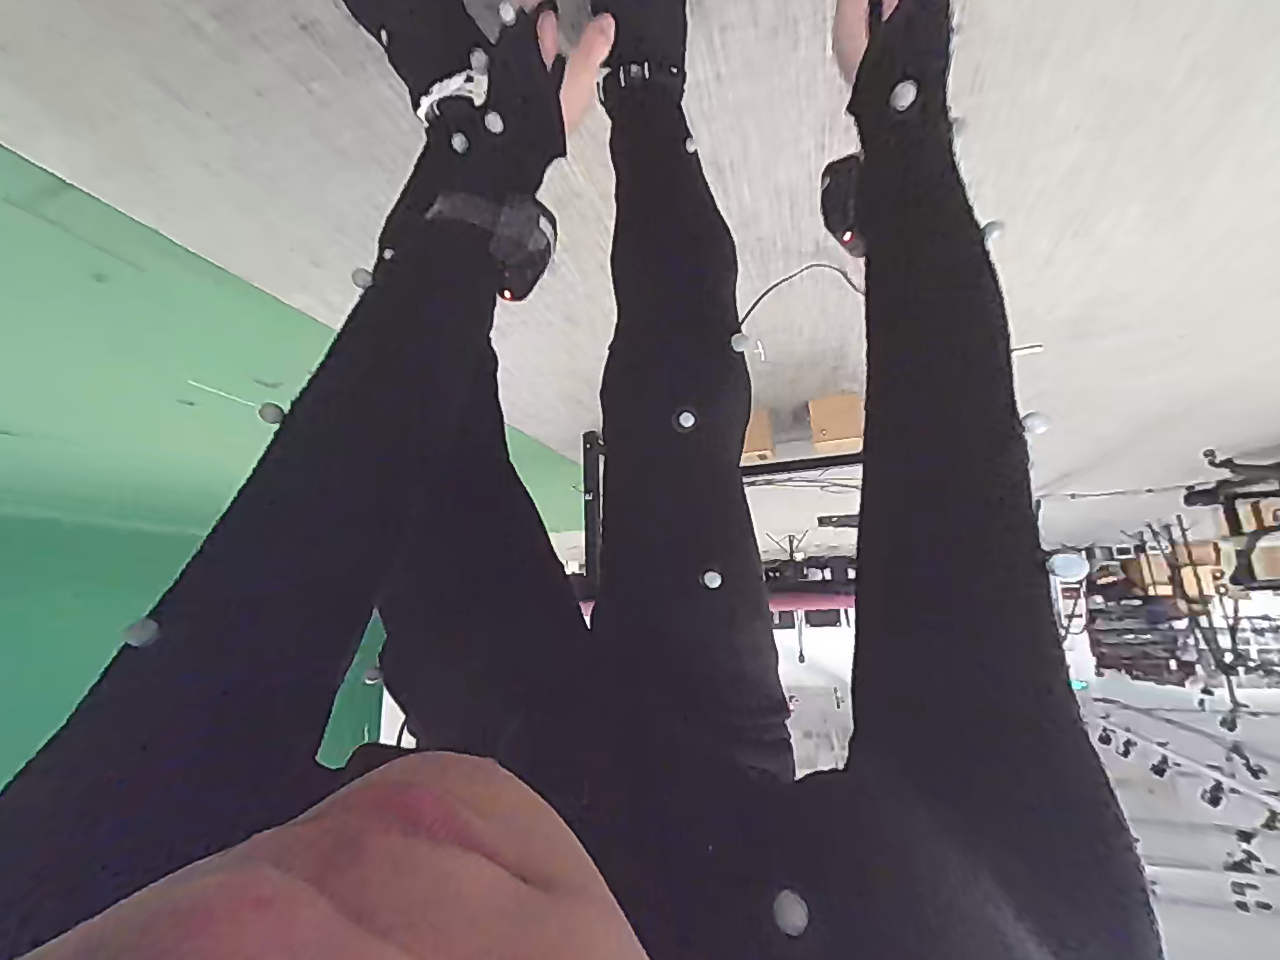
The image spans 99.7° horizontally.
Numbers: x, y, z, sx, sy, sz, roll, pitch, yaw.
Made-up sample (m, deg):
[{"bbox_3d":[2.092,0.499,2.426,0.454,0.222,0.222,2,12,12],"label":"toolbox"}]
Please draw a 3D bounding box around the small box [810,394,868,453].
[{"bbox_3d":[0.718,-0.205,1.958,0.179,0.176,0.168,-6,166,19],"label":"small box"}]
